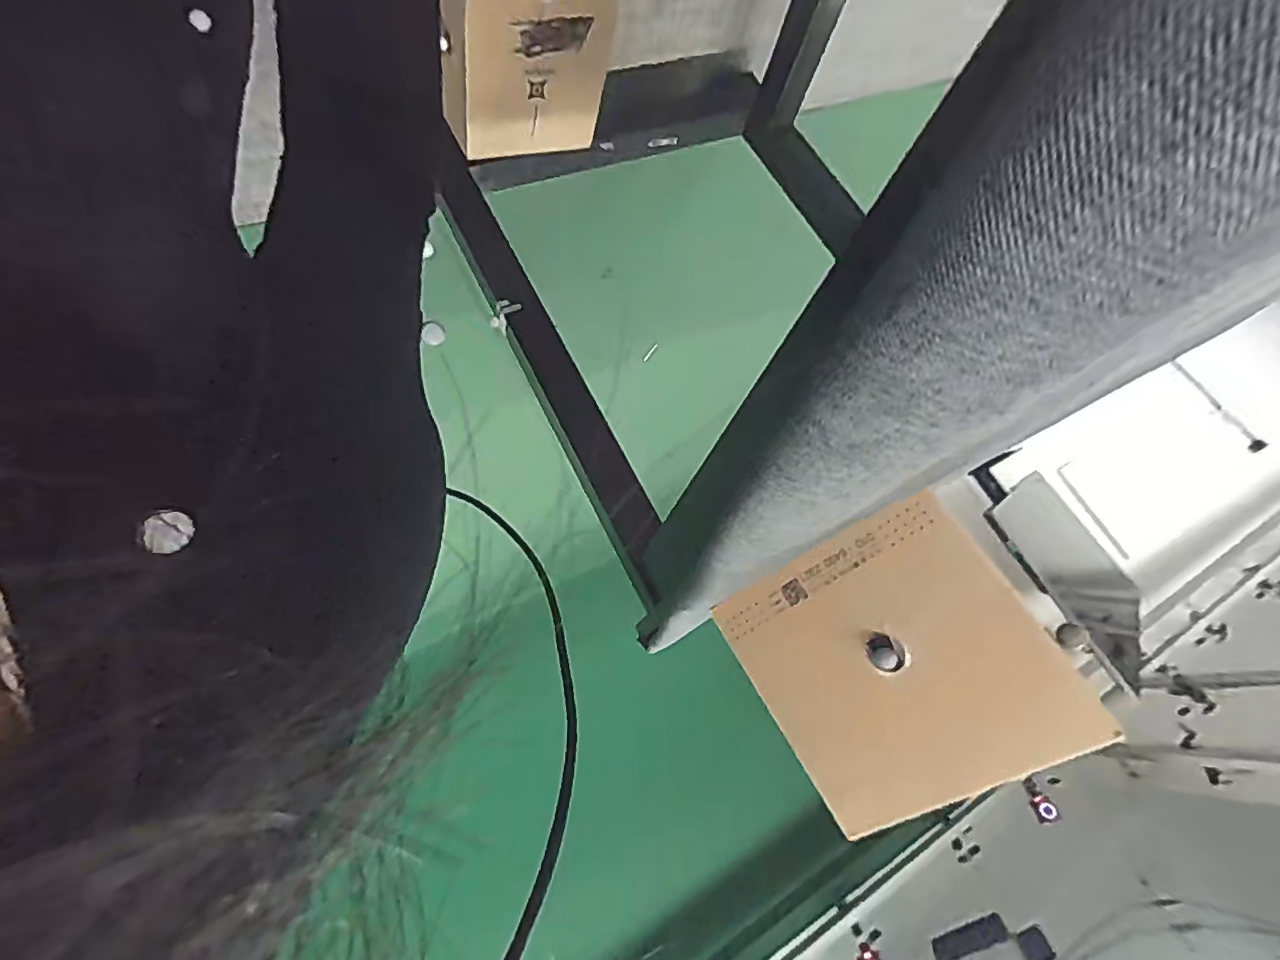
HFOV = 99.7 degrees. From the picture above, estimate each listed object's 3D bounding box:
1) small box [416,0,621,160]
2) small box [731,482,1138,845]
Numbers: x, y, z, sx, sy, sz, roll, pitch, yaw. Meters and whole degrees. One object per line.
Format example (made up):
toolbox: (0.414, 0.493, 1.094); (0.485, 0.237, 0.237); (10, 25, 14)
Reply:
small box: (-0.144, -0.503, 0.607); (0.168, 0.176, 0.179); (-21, 164, -24)
small box: (0.193, 0.113, 0.399); (0.168, 0.176, 0.179); (-38, 162, 23)
